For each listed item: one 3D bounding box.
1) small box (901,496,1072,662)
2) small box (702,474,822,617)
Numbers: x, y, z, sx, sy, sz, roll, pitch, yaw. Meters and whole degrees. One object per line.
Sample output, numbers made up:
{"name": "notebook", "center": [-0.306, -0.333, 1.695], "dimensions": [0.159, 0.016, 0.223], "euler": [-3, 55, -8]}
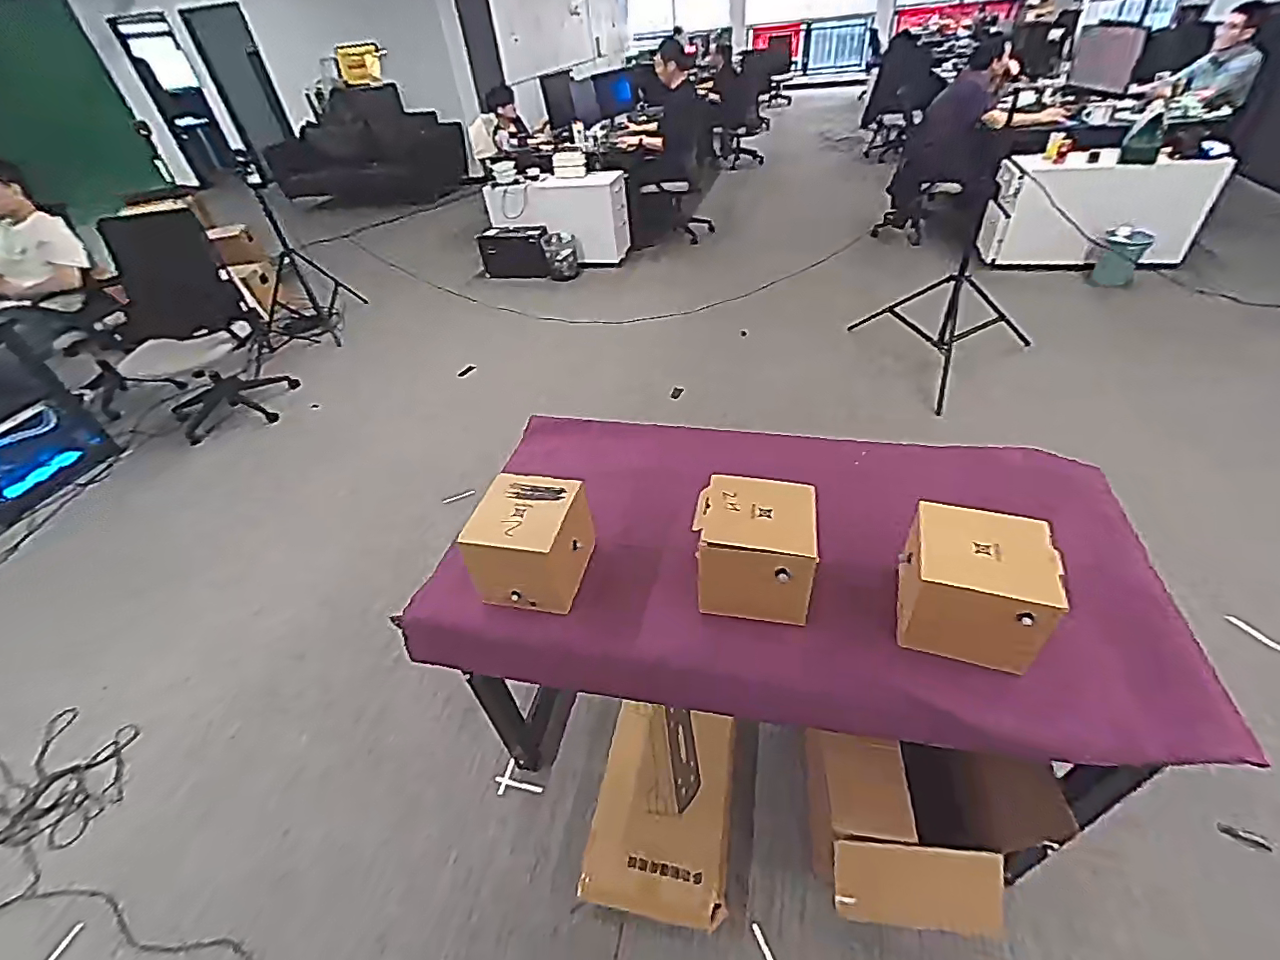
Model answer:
{"name": "small box", "center": [0.505, 0.151, 0.821], "dimensions": [0.179, 0.176, 0.168], "euler": [10, 44, 18]}
{"name": "small box", "center": [0.201, 0.110, 0.908], "dimensions": [0.179, 0.176, 0.168], "euler": [4, 40, 13]}
